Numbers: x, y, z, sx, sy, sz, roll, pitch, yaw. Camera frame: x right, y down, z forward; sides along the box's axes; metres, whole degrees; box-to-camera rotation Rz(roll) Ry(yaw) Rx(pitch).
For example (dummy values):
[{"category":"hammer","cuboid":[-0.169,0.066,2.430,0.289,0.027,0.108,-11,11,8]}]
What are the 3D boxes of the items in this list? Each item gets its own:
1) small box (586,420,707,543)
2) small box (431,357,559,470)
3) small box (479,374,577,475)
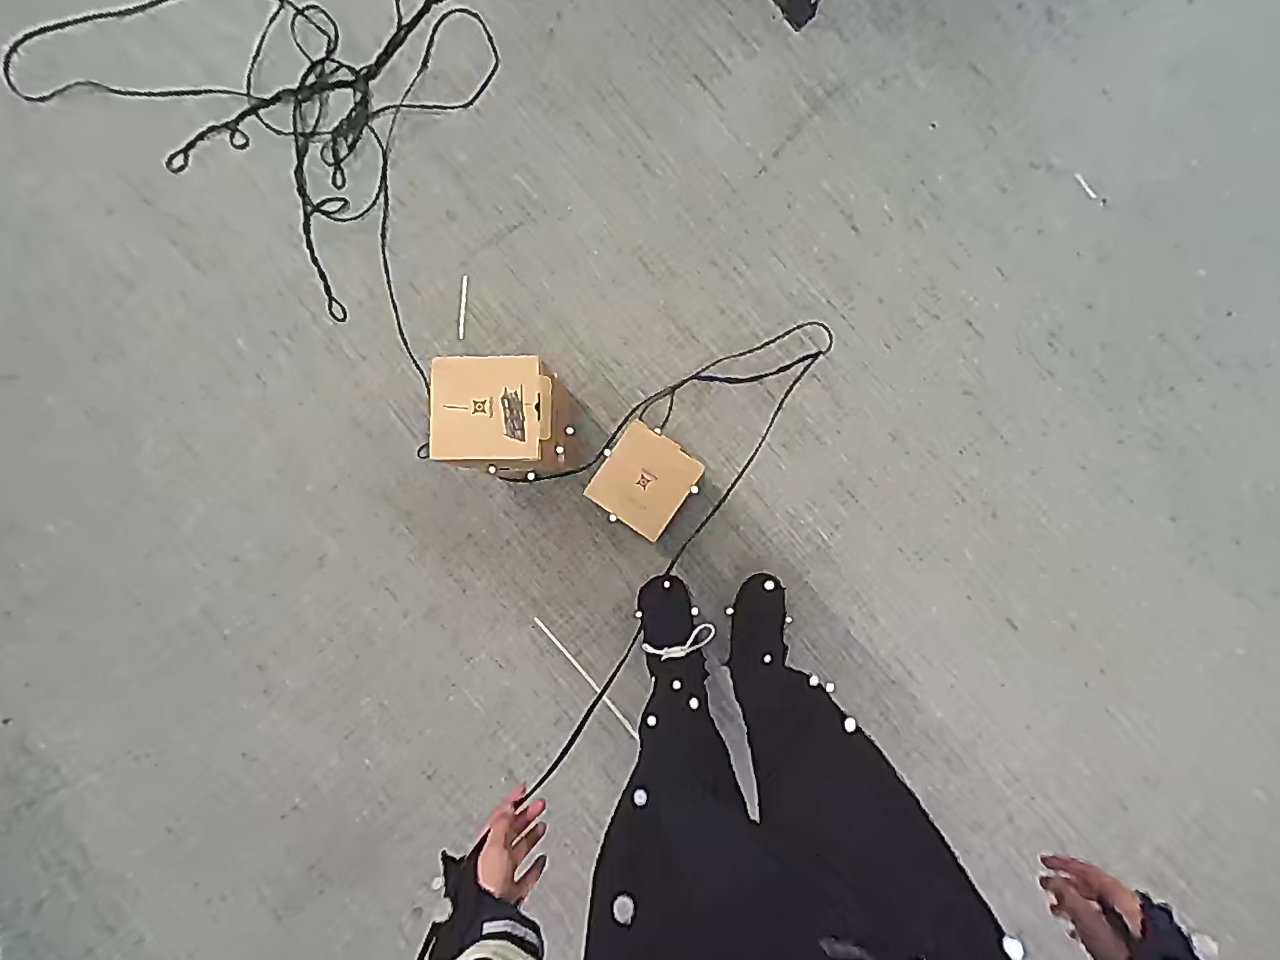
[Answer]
[{"category":"small box","cuboid":[0.012,0.005,1.084,0.168,0.176,0.179,34,89,3]},{"category":"small box","cuboid":[-0.237,-0.107,0.924,0.179,0.176,0.168,0,86,2]},{"category":"small box","cuboid":[-0.224,-0.103,1.089,0.168,0.176,0.179,-5,87,1]}]
